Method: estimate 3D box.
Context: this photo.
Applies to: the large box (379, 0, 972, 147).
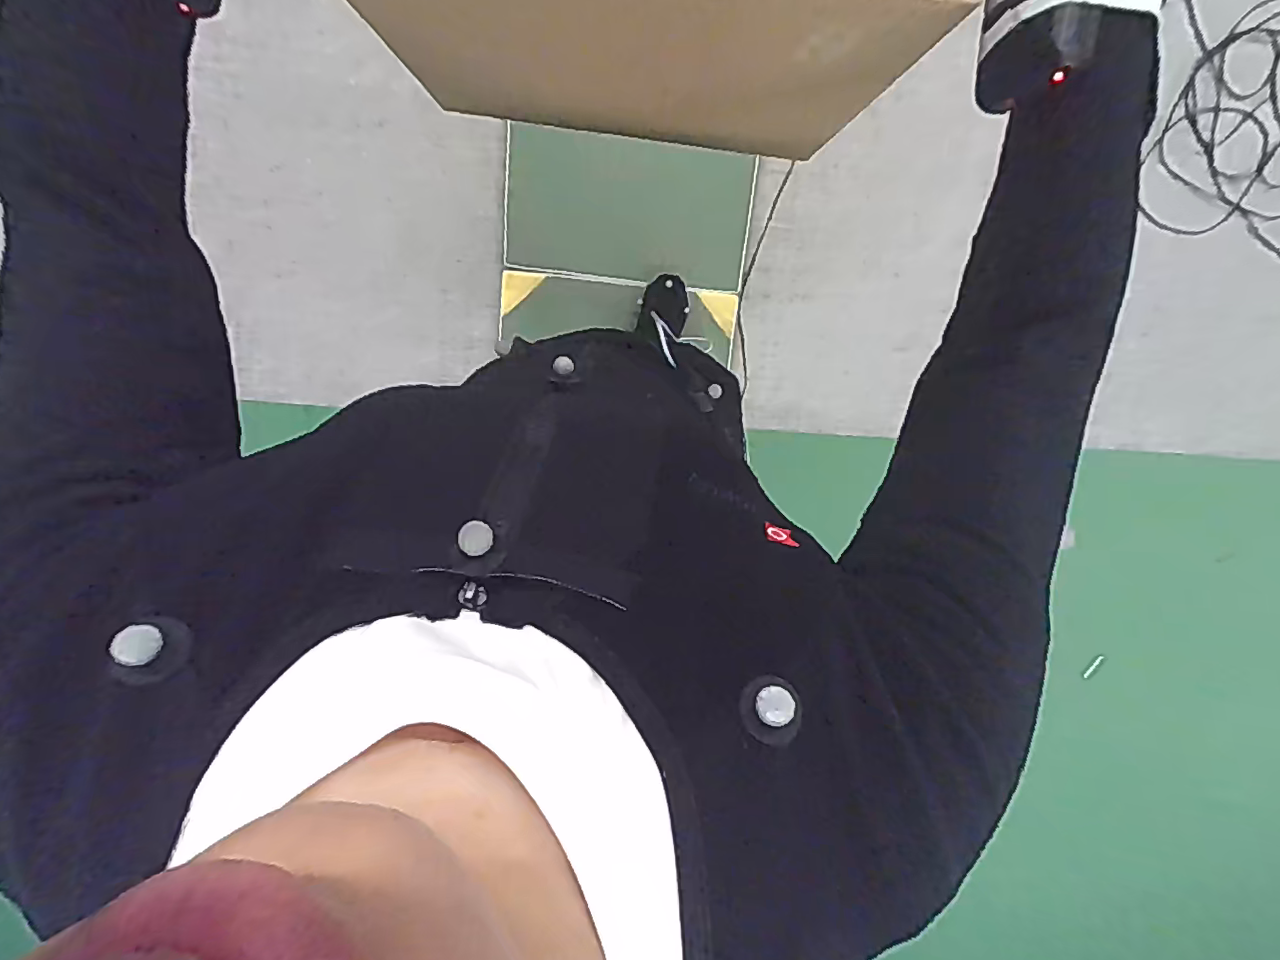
[{"bbox_3d":[0.016,-0.487,0.407,0.408,0.320,0.320,5,107,-4],"label":"large box"}]
